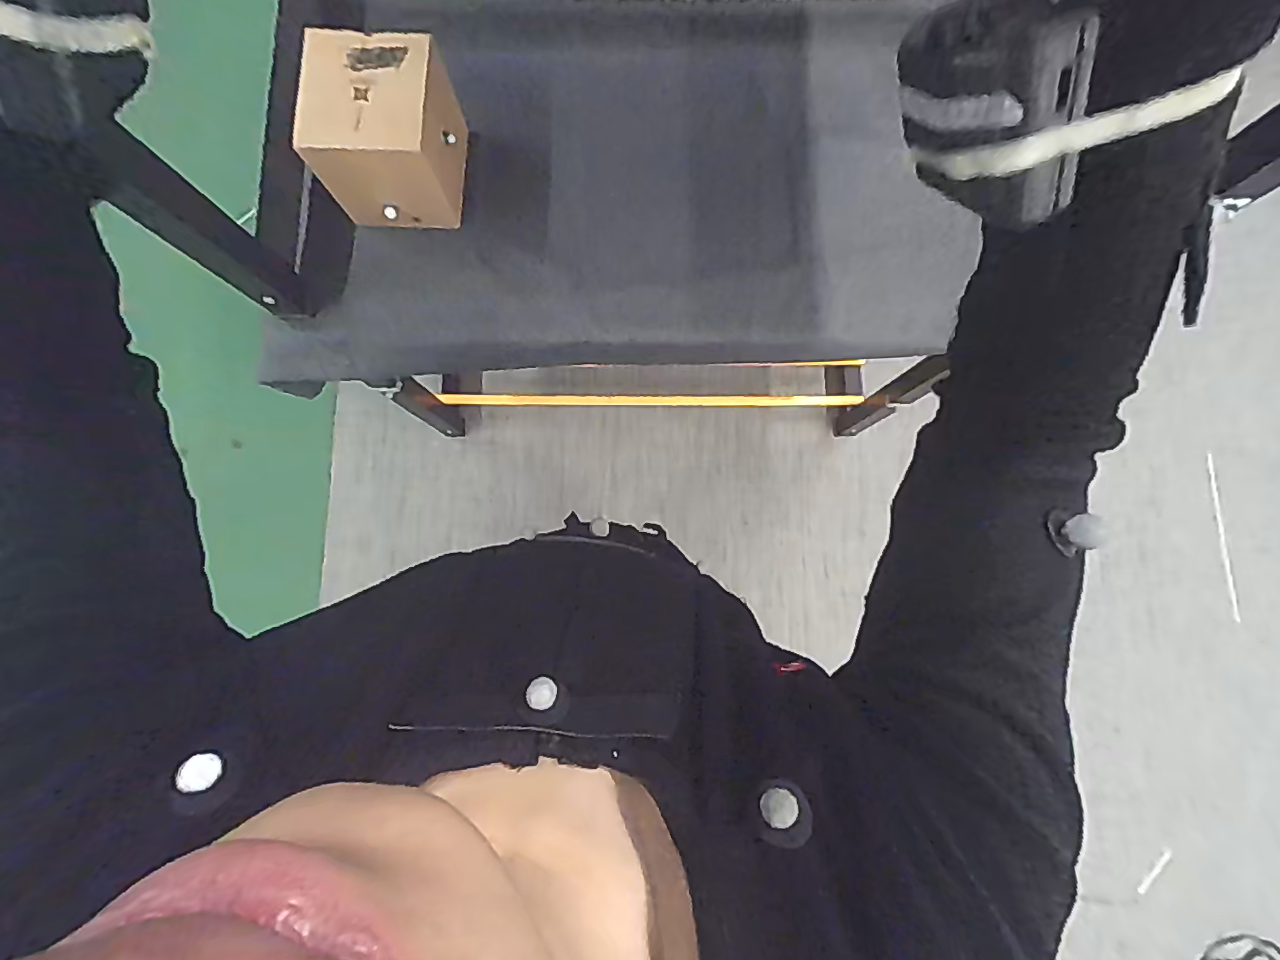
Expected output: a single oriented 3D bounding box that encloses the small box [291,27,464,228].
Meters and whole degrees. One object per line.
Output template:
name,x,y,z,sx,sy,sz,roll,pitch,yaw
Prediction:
small box,-0.361,-0.496,0.778,0.168,0.176,0.179,1,82,-1
